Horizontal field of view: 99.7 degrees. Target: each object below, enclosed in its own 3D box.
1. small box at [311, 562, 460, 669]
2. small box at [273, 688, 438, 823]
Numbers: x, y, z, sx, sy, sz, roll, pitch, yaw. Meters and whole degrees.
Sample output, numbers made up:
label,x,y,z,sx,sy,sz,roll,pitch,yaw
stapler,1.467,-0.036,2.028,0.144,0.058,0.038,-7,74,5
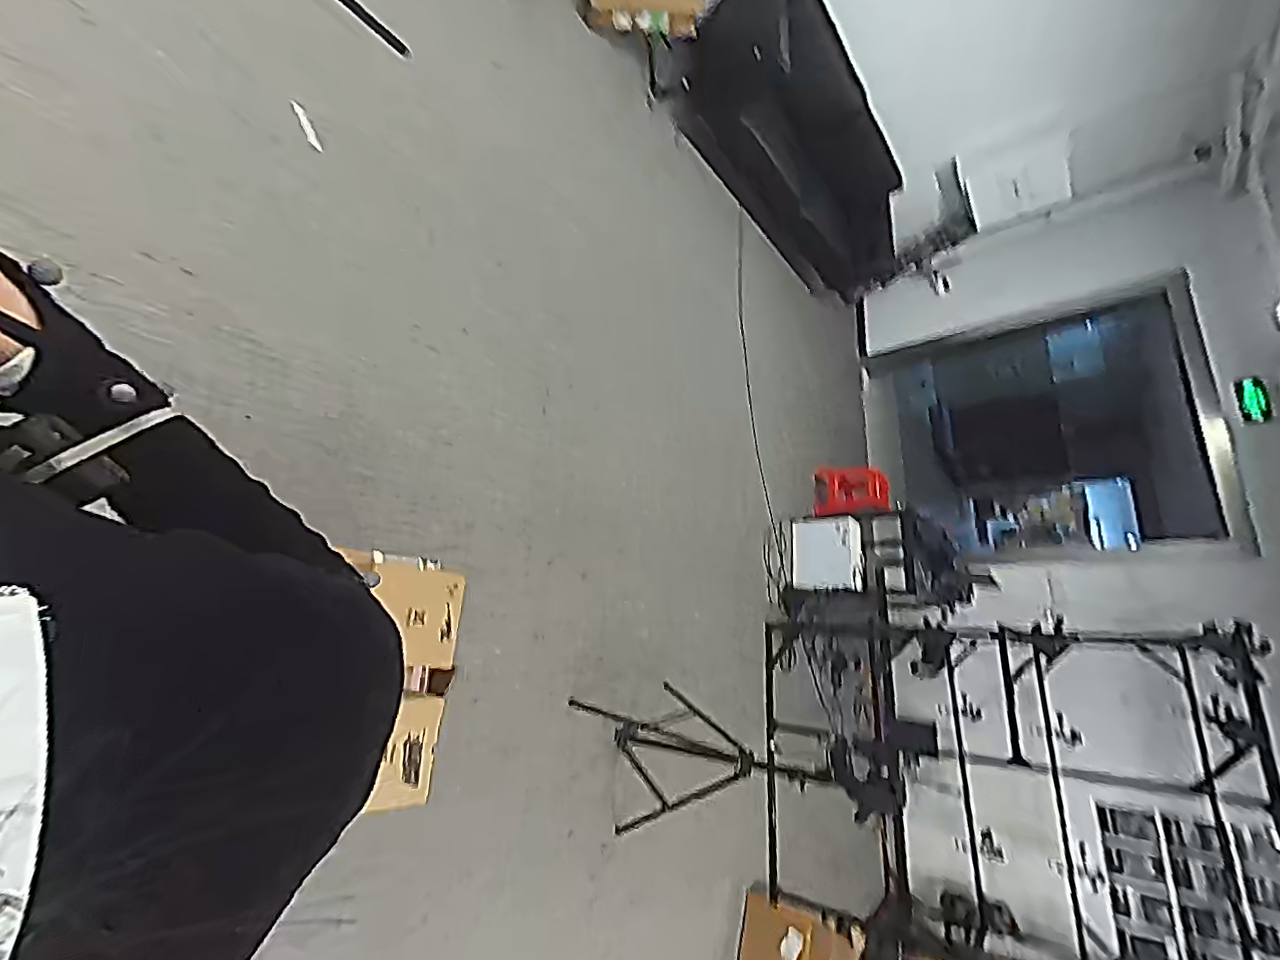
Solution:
label,x,y,z,sx,sy,sz,roll,pitch,yaw
small box,-0.459,0.250,0.976,0.179,0.176,0.168,24,62,-45
small box,-0.477,0.449,0.912,0.179,0.176,0.168,23,66,-45
